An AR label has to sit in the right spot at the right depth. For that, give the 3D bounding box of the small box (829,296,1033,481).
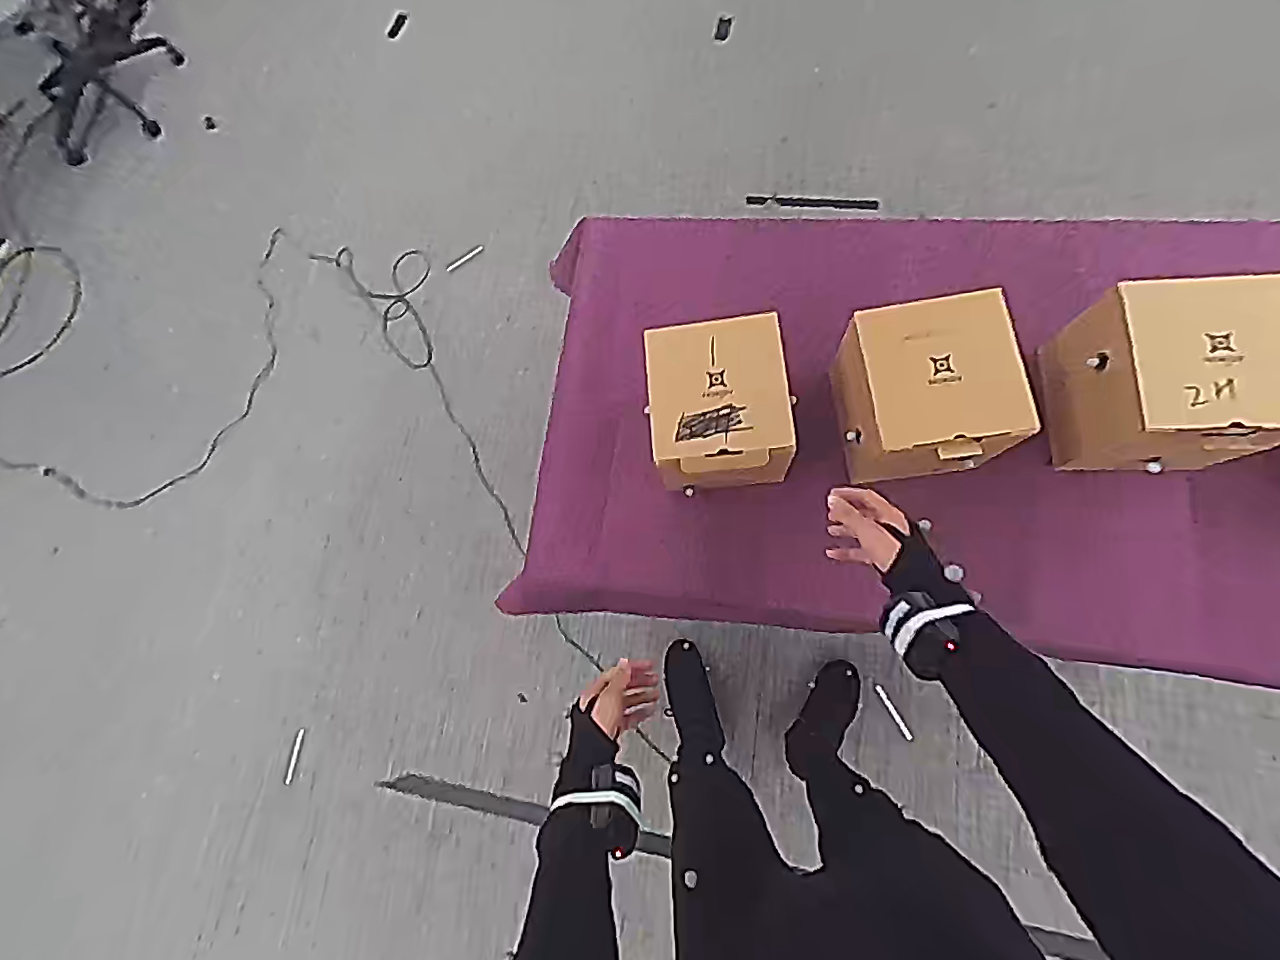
[{"bbox_3d":[0.350,-0.102,0.689,0.168,0.176,0.179,-7,75,7],"label":"small box"}]

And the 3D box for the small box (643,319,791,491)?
[{"bbox_3d":[0.102,-0.086,0.725,0.168,0.176,0.179,-6,75,8],"label":"small box"}]

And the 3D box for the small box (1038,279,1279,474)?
[{"bbox_3d":[0.612,-0.113,0.646,0.168,0.176,0.179,0,77,10],"label":"small box"}]
